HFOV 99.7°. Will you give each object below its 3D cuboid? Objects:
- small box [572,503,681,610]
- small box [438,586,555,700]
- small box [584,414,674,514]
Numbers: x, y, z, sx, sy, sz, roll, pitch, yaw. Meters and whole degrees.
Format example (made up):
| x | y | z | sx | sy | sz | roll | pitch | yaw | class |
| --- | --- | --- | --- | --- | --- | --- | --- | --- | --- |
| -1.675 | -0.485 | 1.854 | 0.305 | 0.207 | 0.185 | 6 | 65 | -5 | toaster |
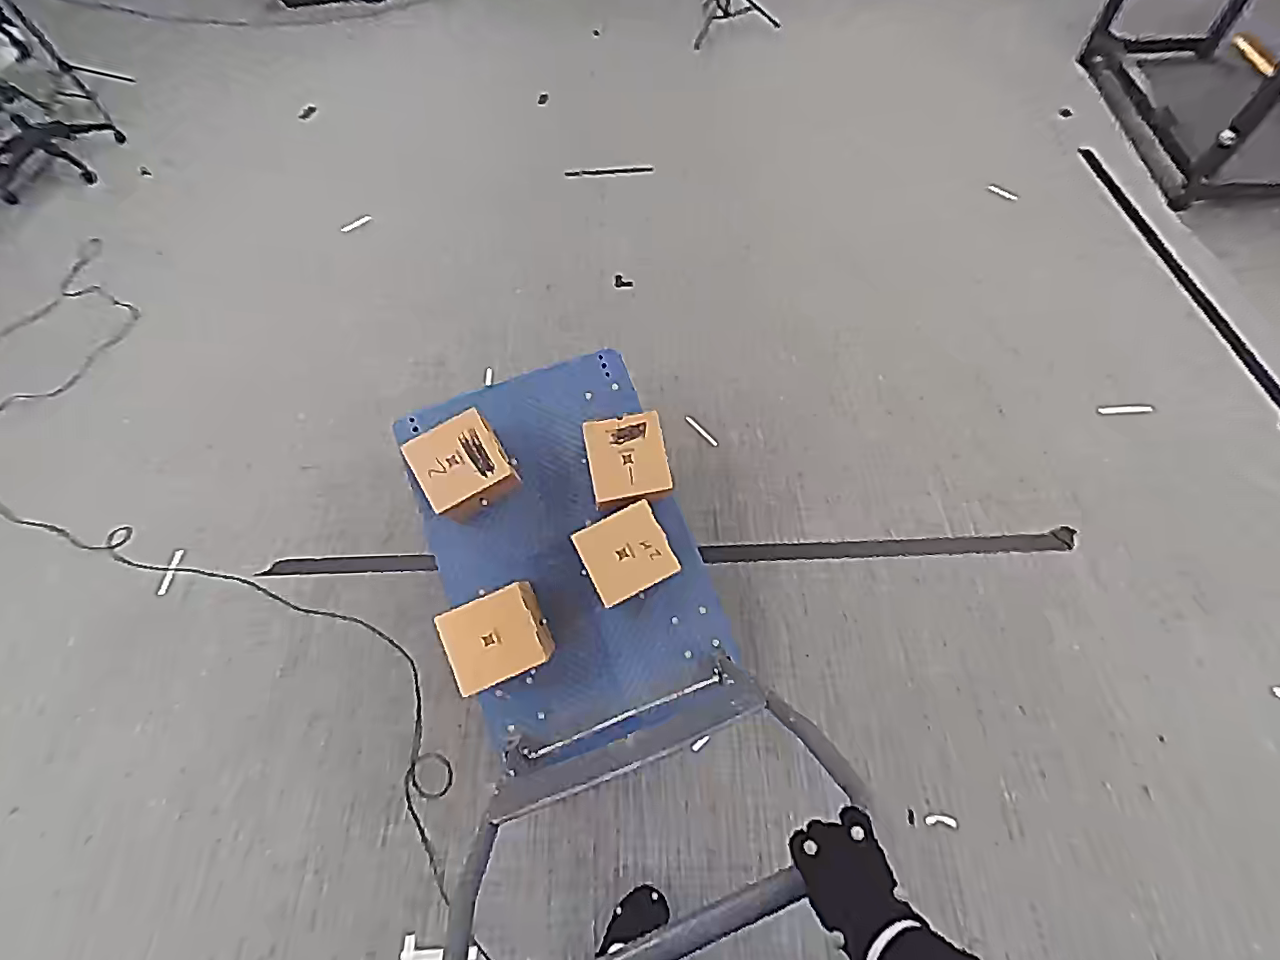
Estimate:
| x | y | z | sx | sy | sz | roll | pitch | yaw | class |
| --- | --- | --- | --- | --- | --- | --- | --- | --- | --- |
| -0.029 | 0.170 | 1.178 | 0.179 | 0.176 | 0.168 | -27 | 82 | -8 | small box |
| -0.291 | 0.334 | 1.133 | 0.179 | 0.176 | 0.168 | -23 | 81 | -9 | small box |
| -0.030 | -0.030 | 1.215 | 0.168 | 0.176 | 0.179 | -11 | 81 | -5 | small box |
